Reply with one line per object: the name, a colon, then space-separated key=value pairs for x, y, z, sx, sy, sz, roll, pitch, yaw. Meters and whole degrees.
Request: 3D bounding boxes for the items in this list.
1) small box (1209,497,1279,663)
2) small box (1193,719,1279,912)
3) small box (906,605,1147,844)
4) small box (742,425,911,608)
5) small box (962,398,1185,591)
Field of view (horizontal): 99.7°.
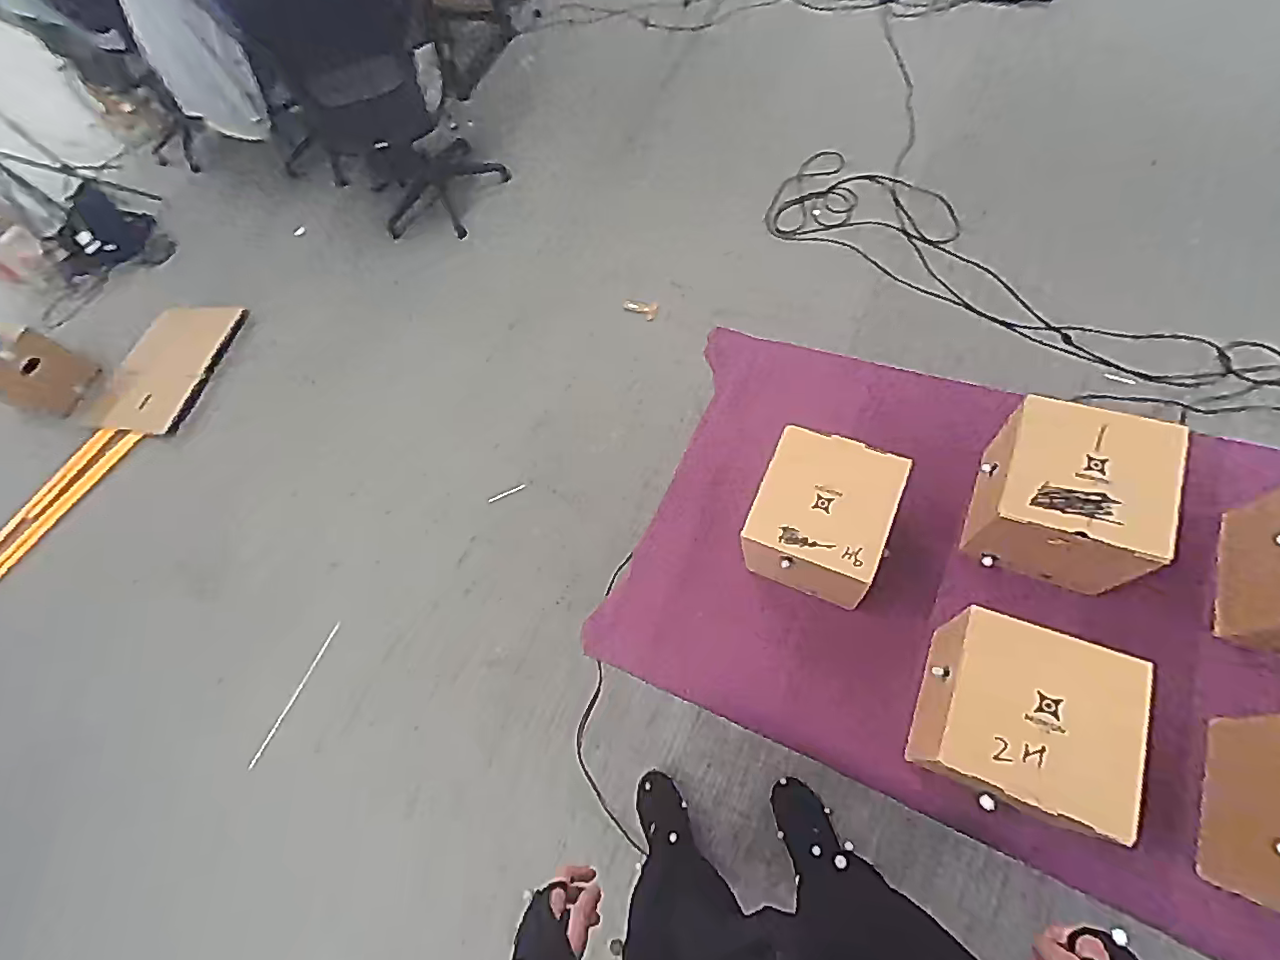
small box: x=0.793 y=0.116 z=0.600 sx=0.168 sy=0.176 sz=0.179 roll=18 pitch=72 yaw=22
small box: x=0.692 y=0.346 z=0.519 sx=0.168 sy=0.176 sz=0.179 roll=19 pitch=72 yaw=21
small box: x=0.423 y=0.270 z=0.619 sx=0.168 sy=0.176 sz=0.179 roll=18 pitch=71 yaw=21
small box: x=0.254 y=0.056 z=0.758 sx=0.168 sy=0.176 sz=0.179 roll=20 pitch=72 yaw=23
small box: x=0.544 y=0.026 z=0.703 sx=0.168 sy=0.176 sz=0.179 roll=19 pitch=71 yaw=21
